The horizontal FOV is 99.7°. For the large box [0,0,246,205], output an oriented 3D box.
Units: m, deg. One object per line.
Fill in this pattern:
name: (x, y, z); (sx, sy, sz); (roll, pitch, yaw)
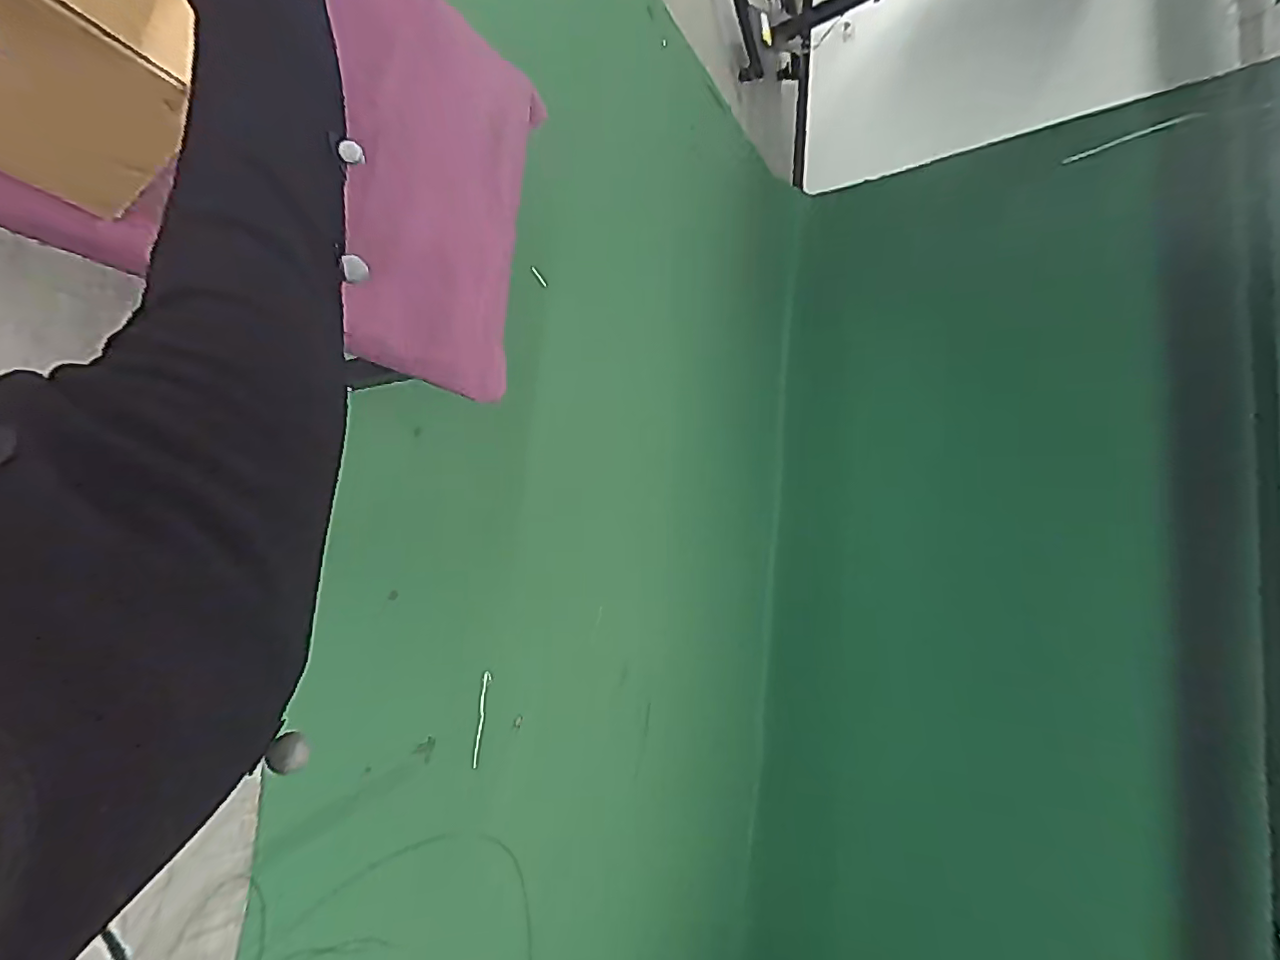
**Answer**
large box: (-0.519, -0.516, 0.416); (0.320, 0.320, 0.408); (20, 74, -53)
